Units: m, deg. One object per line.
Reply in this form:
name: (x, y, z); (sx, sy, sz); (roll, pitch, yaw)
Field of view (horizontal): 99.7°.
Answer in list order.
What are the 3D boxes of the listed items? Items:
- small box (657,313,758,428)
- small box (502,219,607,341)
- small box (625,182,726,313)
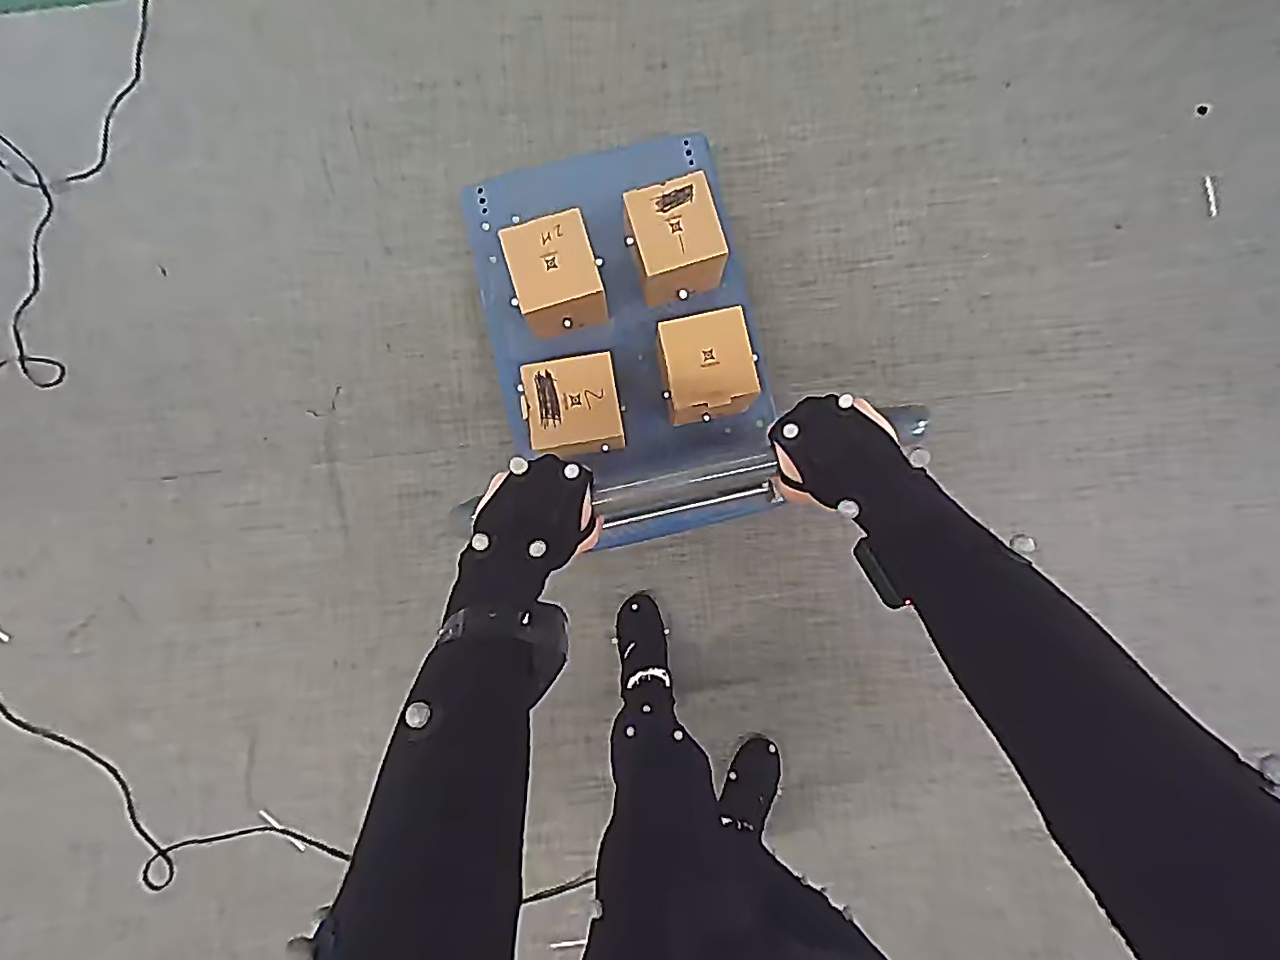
small box: (0.131, -0.220, 1.124); (0.168, 0.176, 0.179); (-12, 86, 0)
small box: (-0.171, -0.408, 1.142); (0.168, 0.176, 0.179); (-17, 85, -1)
small box: (0.069, -0.482, 1.144); (0.168, 0.176, 0.179); (-16, 87, 0)
